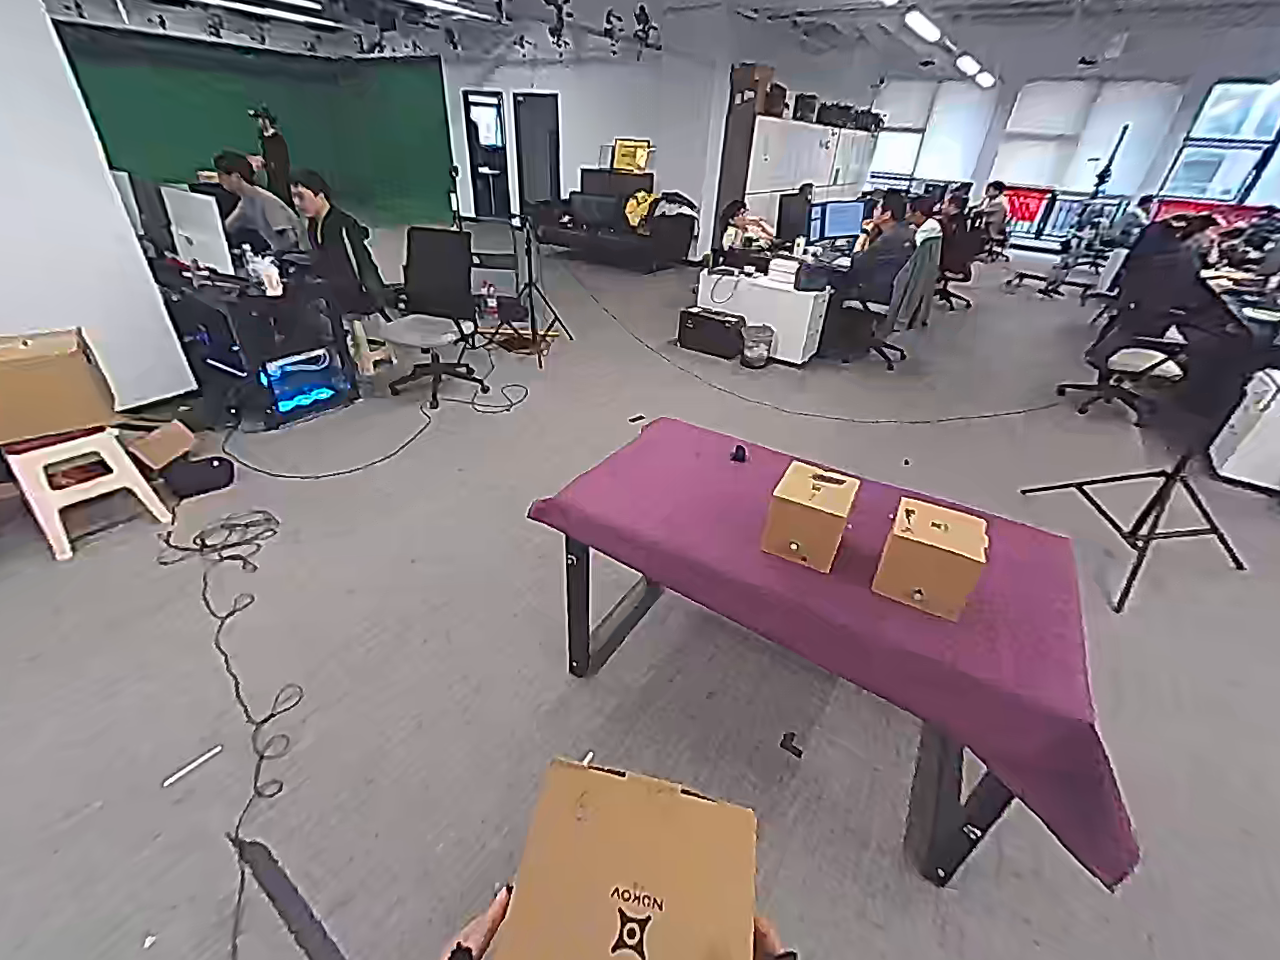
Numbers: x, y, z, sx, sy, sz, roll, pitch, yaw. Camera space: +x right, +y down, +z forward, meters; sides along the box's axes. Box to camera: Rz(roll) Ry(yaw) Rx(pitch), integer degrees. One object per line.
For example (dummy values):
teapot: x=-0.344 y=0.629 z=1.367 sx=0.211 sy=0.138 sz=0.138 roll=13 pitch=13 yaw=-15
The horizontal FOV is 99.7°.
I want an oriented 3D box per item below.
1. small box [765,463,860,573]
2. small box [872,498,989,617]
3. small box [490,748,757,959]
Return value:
small box: x=0.409 y=0.089 z=1.295 sx=0.168 sy=0.176 sz=0.179 roll=18 pitch=36 yaw=23
small box: x=0.634 y=0.171 z=1.185 sx=0.179 sy=0.176 sz=0.168 roll=19 pitch=35 yaw=23
small box: x=-0.020 y=0.339 z=0.411 sx=0.168 sy=0.176 sz=0.179 roll=15 pitch=46 yaw=-1
